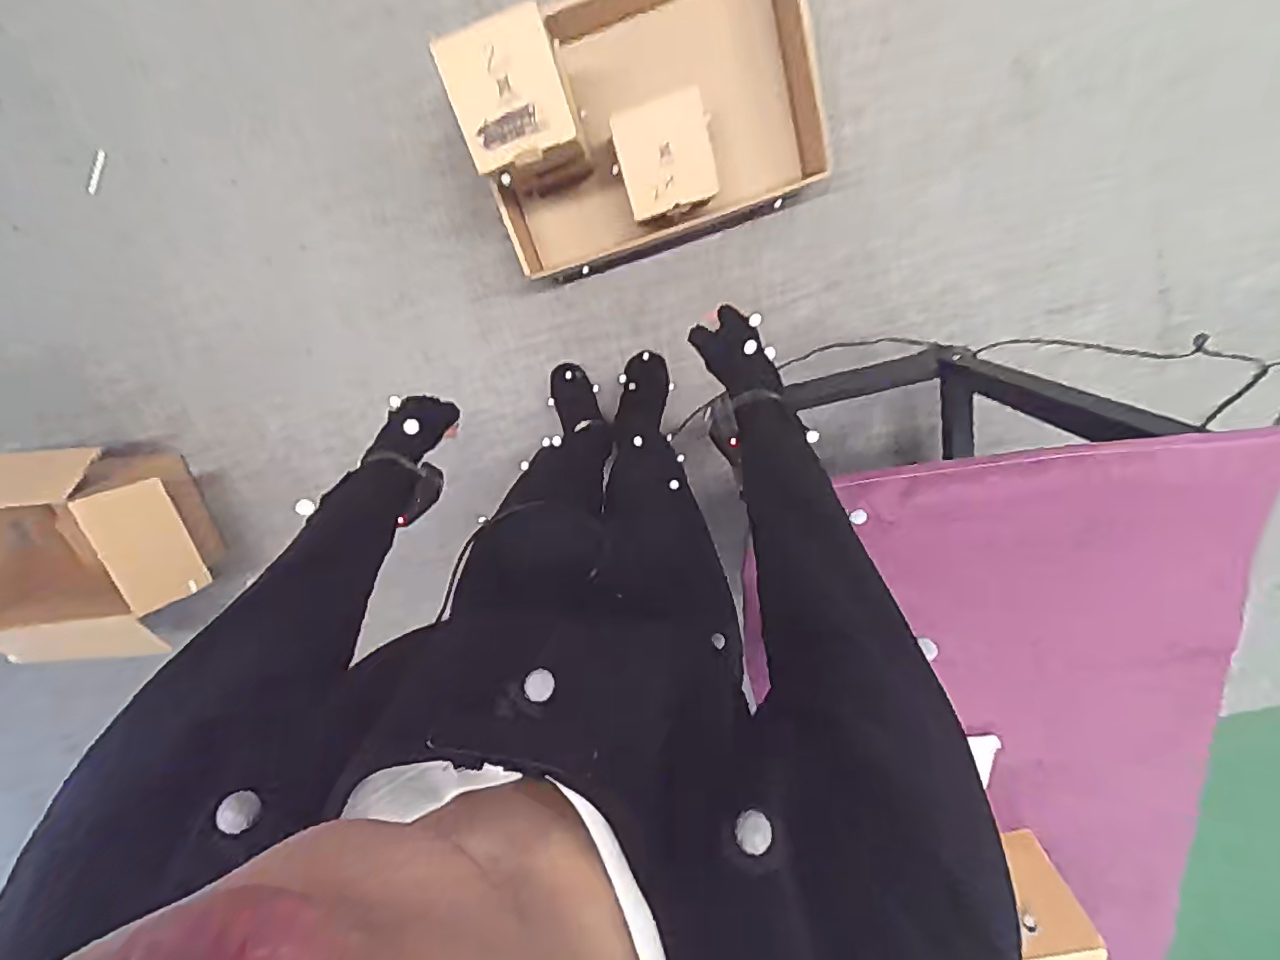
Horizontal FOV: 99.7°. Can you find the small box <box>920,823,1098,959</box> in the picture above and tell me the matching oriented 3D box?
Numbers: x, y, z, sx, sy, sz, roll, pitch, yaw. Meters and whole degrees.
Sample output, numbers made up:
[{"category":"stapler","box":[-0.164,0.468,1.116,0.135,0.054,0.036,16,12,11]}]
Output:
[{"category":"small box","box":[0.561,0.680,0.845,0.179,0.176,0.168,-16,111,6]}]
